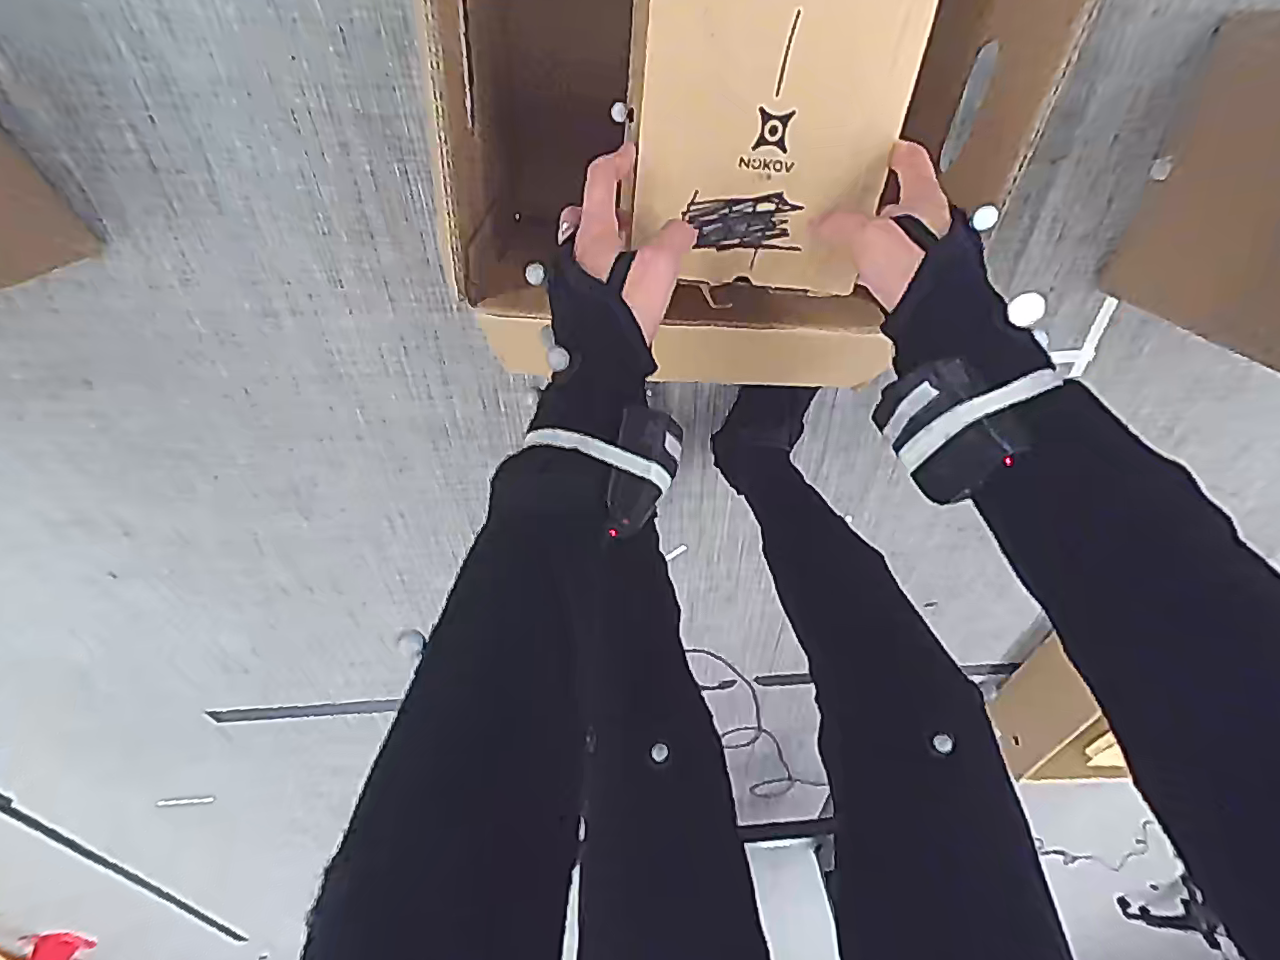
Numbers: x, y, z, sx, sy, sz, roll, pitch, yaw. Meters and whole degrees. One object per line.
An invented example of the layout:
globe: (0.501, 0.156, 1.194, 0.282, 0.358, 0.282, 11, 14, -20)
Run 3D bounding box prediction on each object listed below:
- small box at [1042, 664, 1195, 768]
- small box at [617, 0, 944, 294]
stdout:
small box: (1.127, 0.561, 1.292, 0.179, 0.176, 0.168, 8, 126, -11)
small box: (0.072, -0.252, 0.392, 0.168, 0.176, 0.179, 1, 124, -7)
